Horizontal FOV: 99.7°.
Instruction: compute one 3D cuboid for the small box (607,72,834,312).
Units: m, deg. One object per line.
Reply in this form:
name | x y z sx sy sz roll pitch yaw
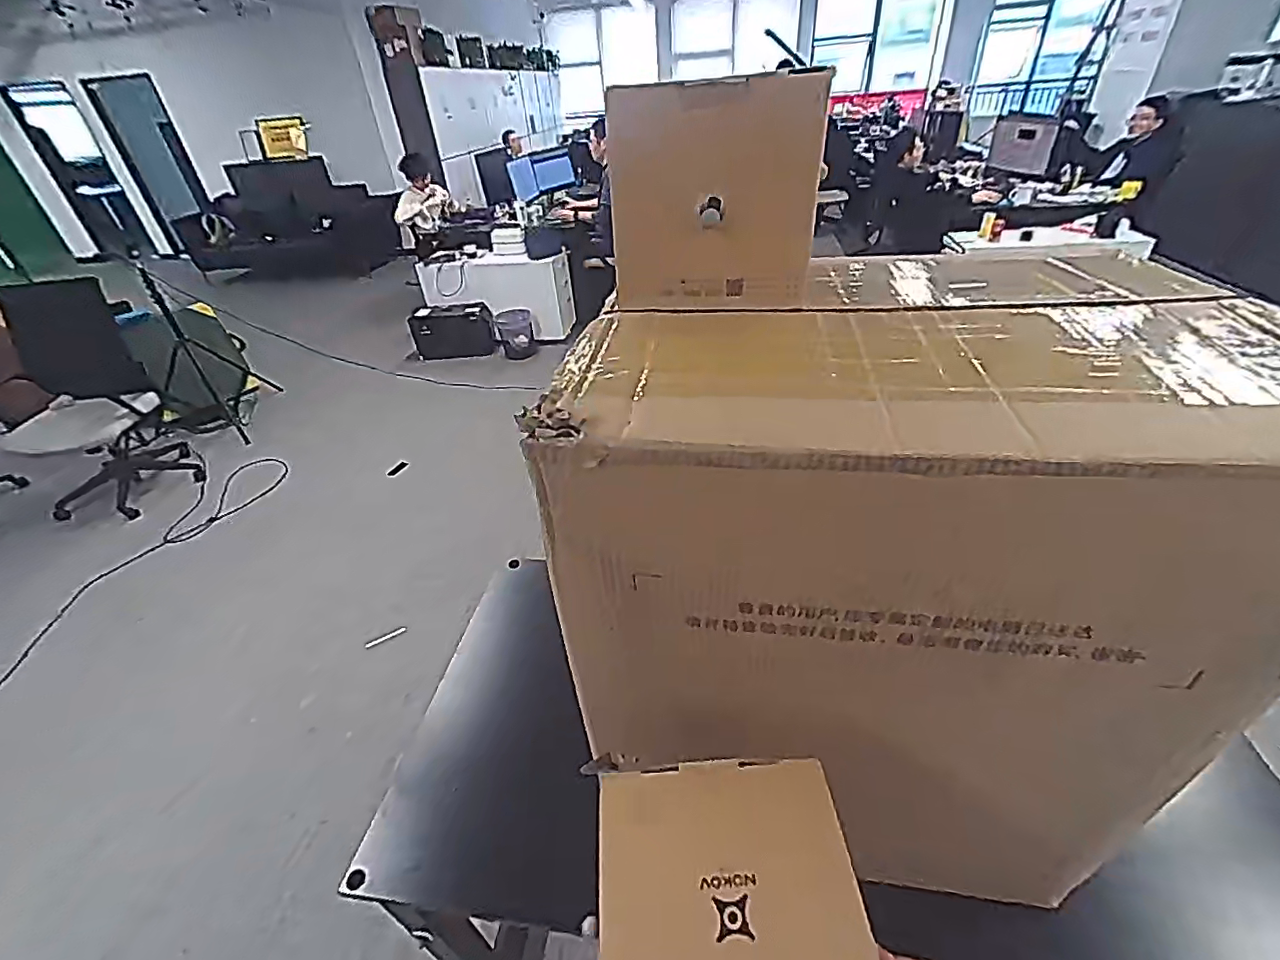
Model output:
small box | 0.073 -0.261 0.497 0.168 0.176 0.179 3 35 9
